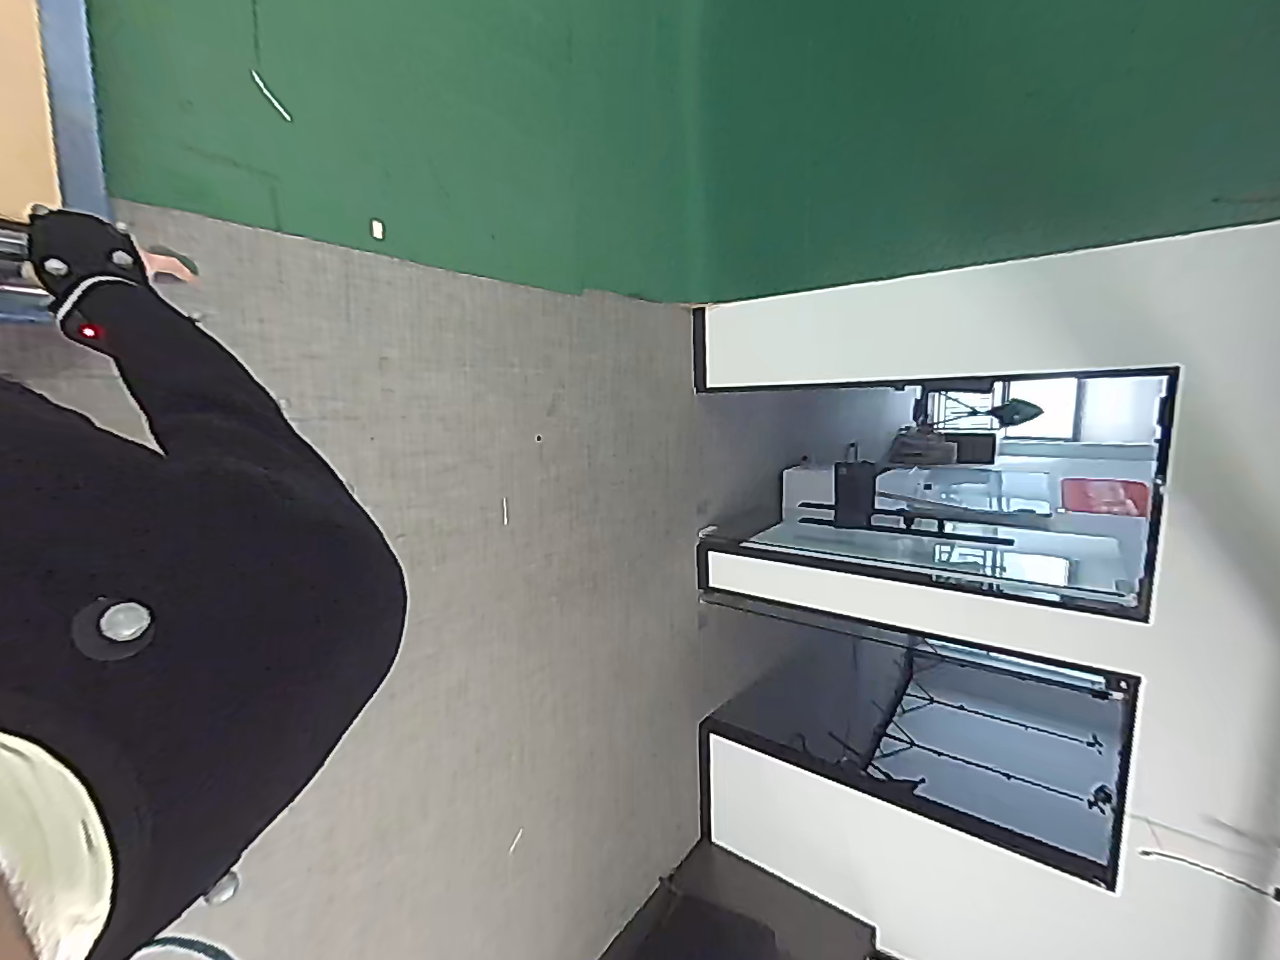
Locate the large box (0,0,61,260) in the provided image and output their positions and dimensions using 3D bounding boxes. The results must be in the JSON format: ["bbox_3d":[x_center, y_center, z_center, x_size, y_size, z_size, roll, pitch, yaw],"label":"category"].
[{"bbox_3d":[-1.091,-0.569,0.760,0.320,0.320,0.408,-11,101,-53],"label":"large box"}]
